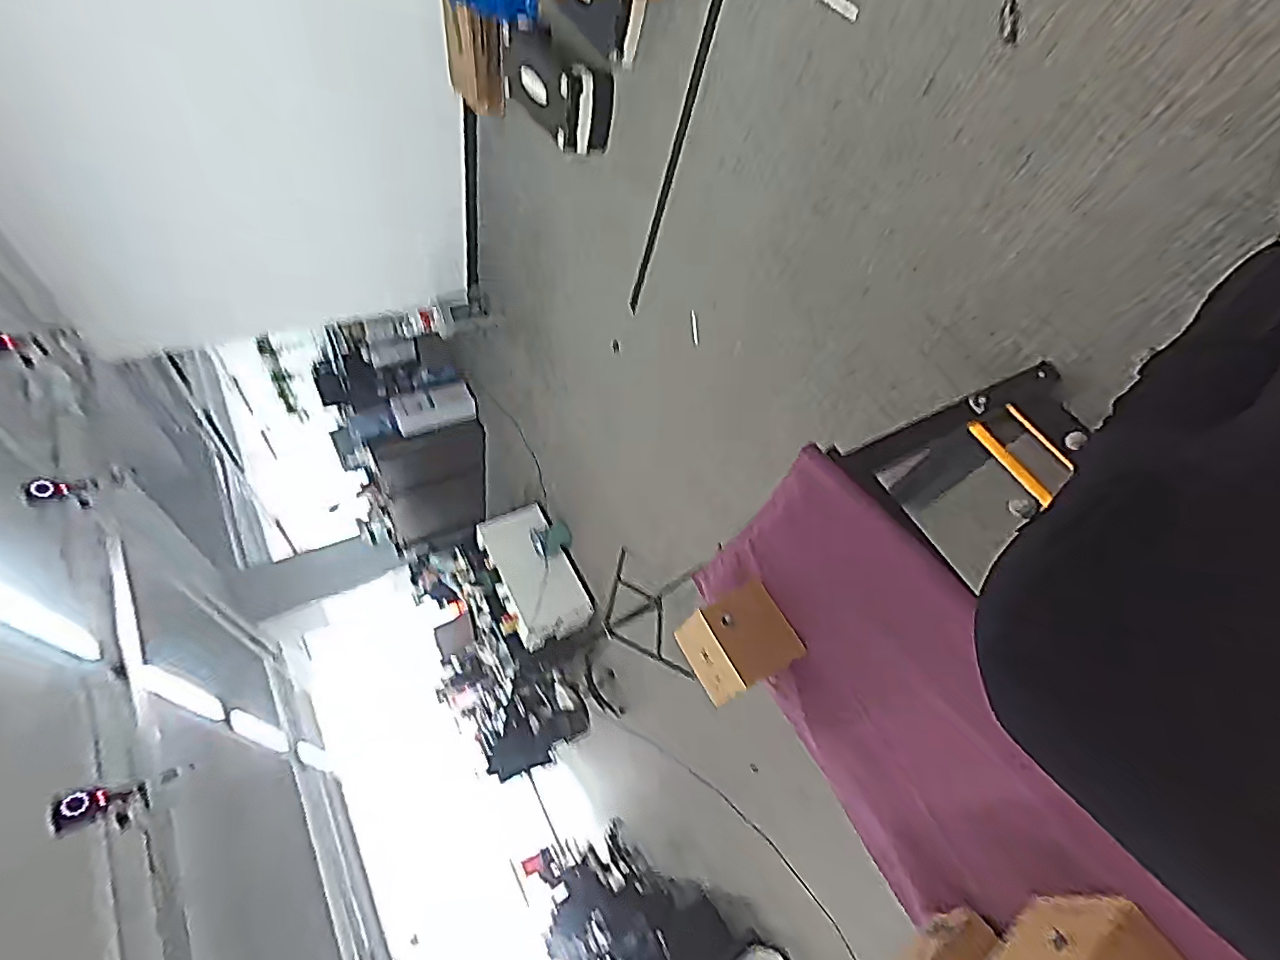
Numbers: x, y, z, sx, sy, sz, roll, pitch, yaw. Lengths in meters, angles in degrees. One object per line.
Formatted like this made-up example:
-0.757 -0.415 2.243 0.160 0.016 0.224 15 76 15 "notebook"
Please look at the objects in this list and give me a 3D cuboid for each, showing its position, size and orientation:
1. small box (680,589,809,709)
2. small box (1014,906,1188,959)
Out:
0.217 0.351 1.148 0.179 0.176 0.168 57 150 23 "small box"
0.599 0.673 0.674 0.179 0.176 0.168 54 150 27 "small box"
